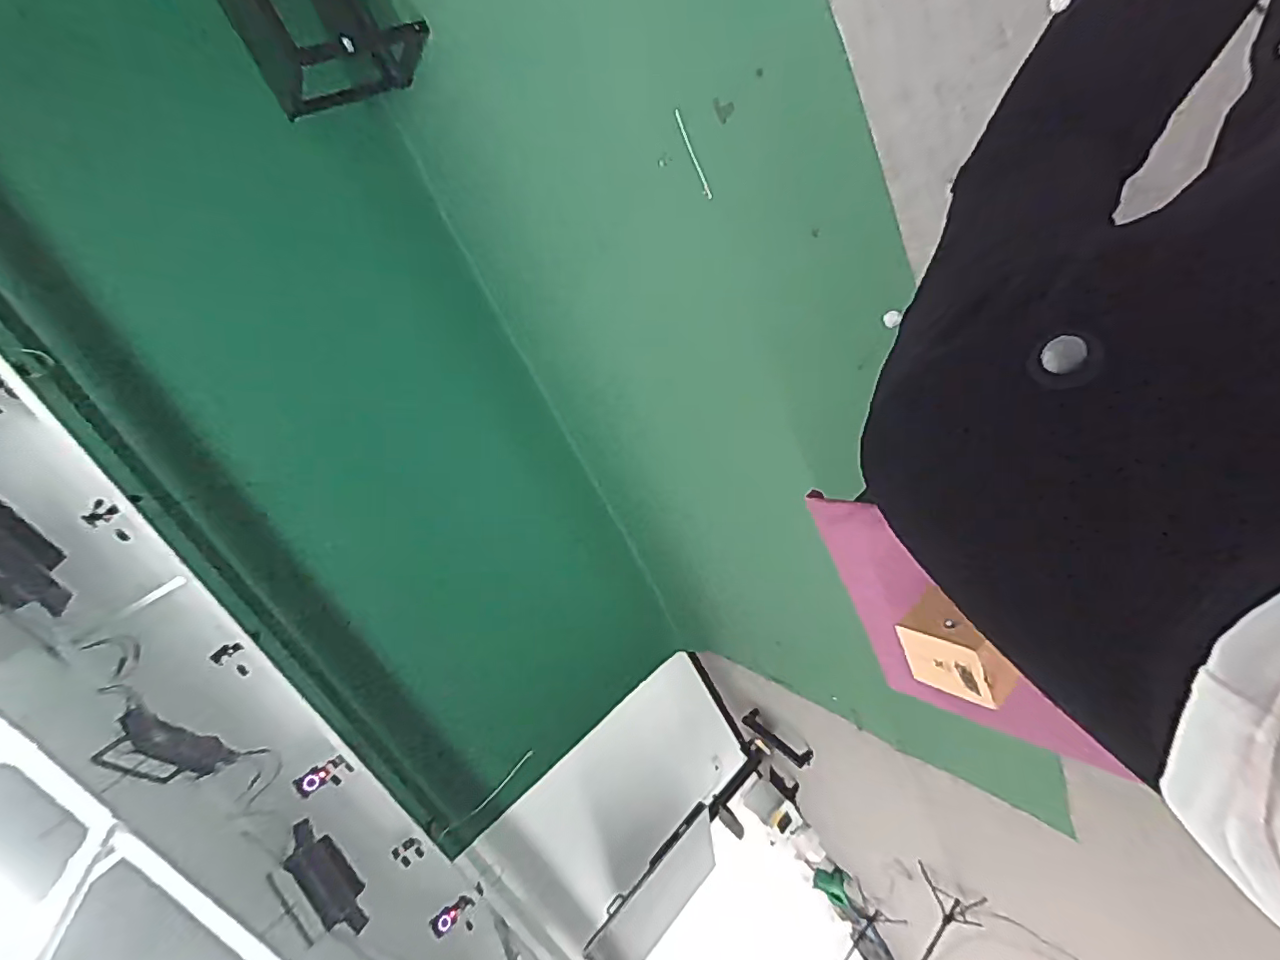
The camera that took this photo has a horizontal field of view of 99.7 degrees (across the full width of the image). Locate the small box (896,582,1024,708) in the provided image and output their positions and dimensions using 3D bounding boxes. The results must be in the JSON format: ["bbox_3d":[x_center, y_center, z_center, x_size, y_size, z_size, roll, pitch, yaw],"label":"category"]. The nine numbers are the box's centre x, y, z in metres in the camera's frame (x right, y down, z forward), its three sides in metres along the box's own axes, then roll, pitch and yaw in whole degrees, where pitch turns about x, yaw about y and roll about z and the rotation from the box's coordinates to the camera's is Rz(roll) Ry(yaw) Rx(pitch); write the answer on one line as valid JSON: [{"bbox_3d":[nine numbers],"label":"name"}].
[{"bbox_3d":[0.694,0.343,1.163,0.179,0.176,0.168,7,129,58],"label":"small box"}]
